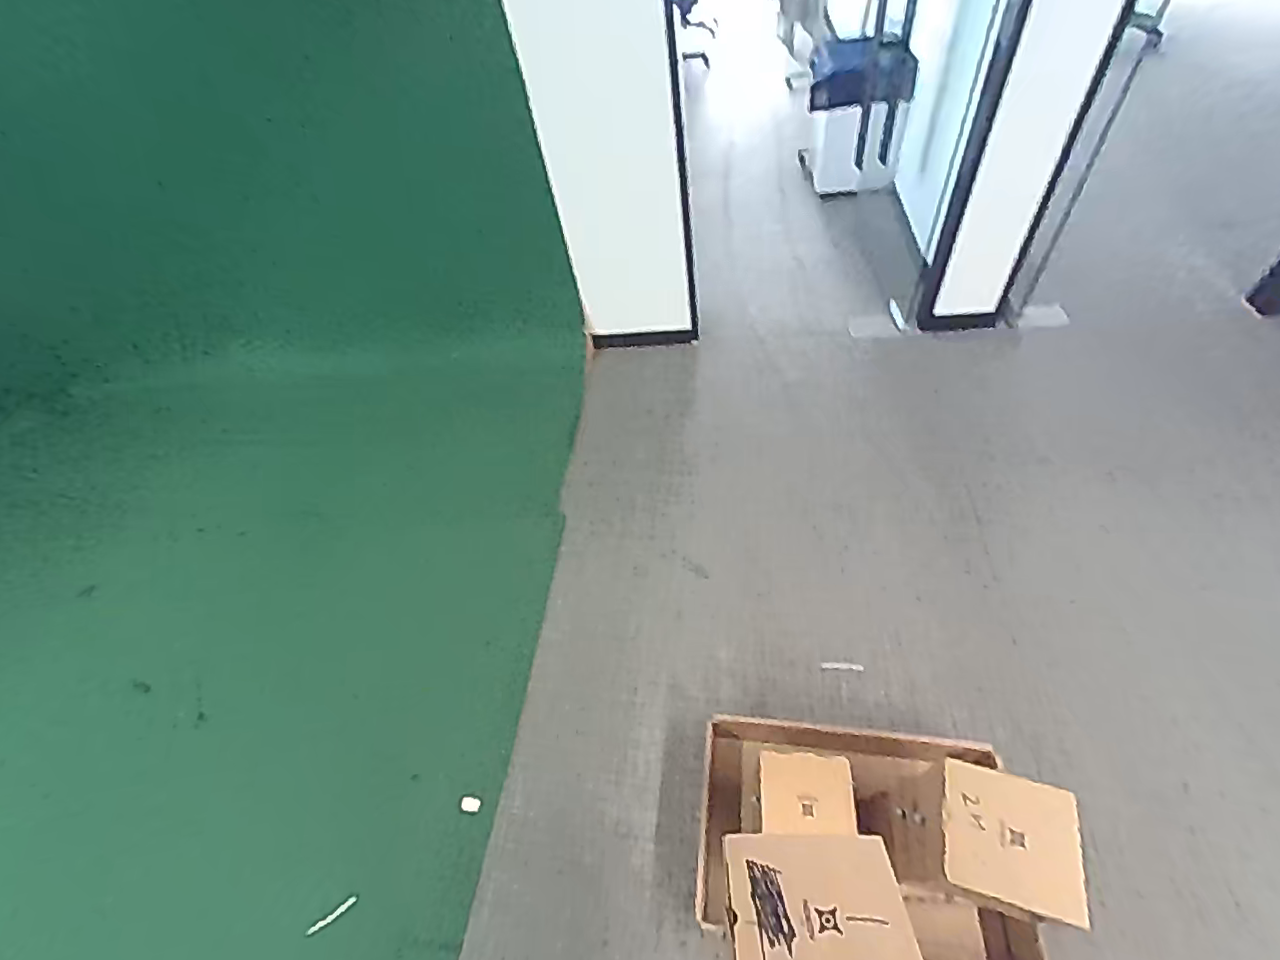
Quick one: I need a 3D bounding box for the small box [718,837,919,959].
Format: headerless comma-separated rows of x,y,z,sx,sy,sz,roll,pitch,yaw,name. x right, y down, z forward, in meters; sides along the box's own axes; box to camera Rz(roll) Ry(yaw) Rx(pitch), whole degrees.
0.174,0.500,0.550,0.179,0.176,0.168,-2,24,5,small box

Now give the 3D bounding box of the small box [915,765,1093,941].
0.540,0.563,0.826,0.179,0.176,0.168,10,55,19,small box

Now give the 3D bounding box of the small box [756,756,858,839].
0.309,0.644,1.024,0.168,0.176,0.179,1,51,9,small box

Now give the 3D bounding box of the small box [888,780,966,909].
0.557,0.654,0.964,0.179,0.176,0.168,4,53,14,small box
